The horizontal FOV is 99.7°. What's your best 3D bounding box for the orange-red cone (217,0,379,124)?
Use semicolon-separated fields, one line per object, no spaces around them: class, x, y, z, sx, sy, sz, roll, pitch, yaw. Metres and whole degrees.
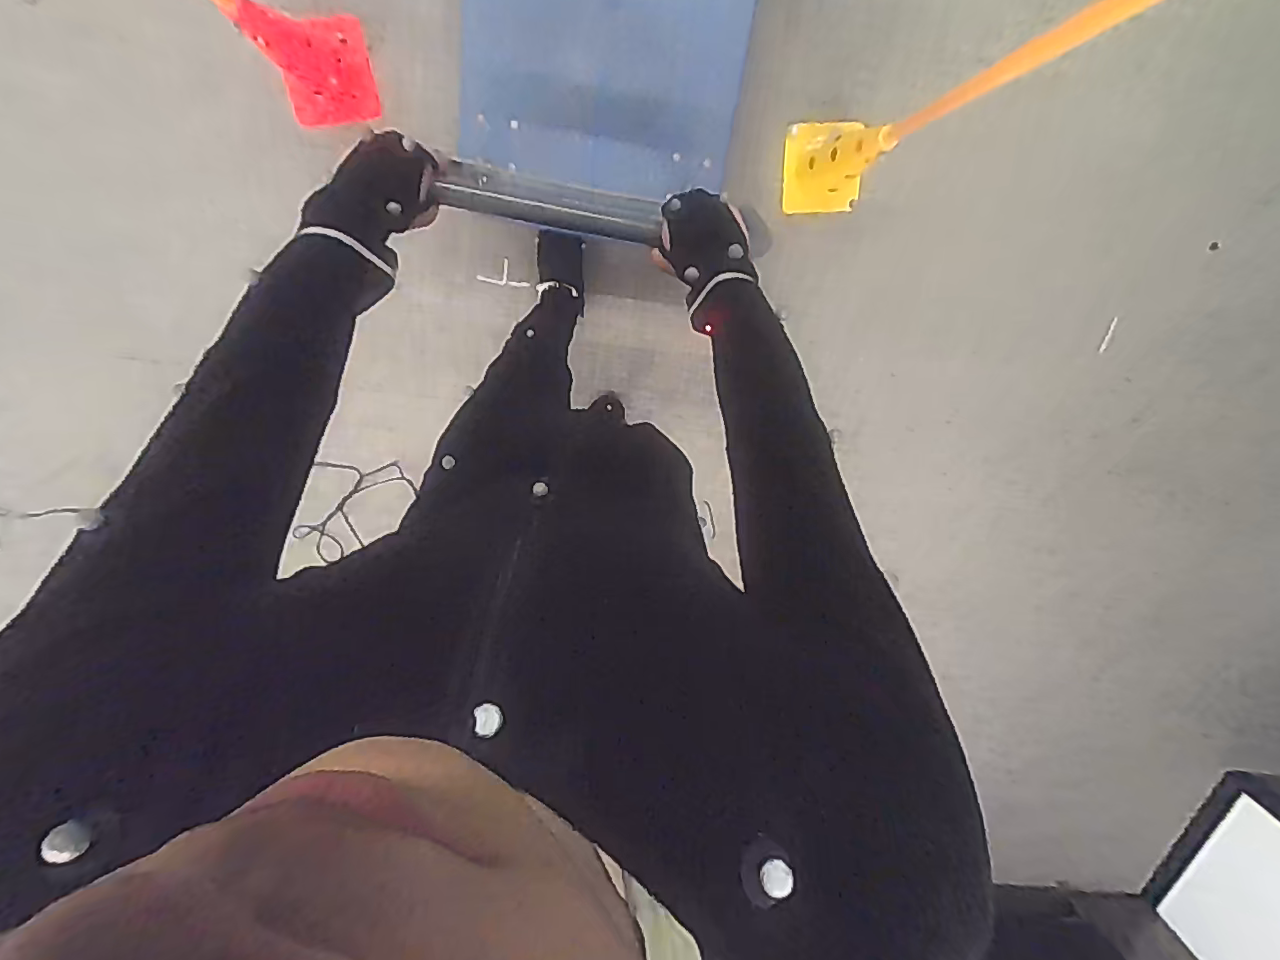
orange-red cone;-0.699;-0.864;1.064;0.199;0.360;0.198;-6;112;0
